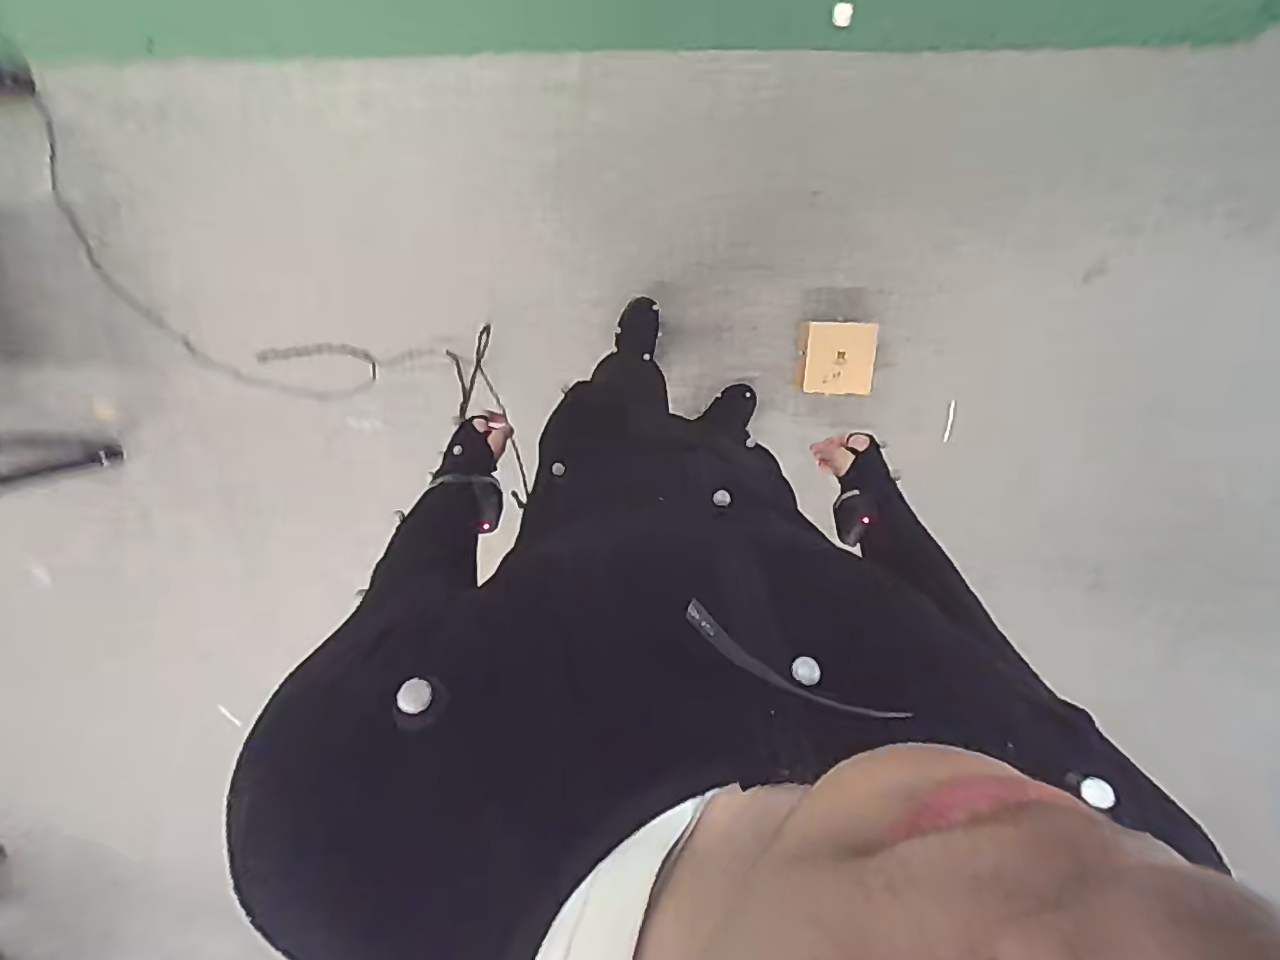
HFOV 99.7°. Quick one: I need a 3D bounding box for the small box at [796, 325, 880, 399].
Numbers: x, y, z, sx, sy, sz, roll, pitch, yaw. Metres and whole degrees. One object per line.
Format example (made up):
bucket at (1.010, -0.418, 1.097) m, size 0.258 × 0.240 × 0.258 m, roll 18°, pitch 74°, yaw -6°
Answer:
small box at (0.510, -0.312, 1.417) m, size 0.168 × 0.176 × 0.179 m, roll 4°, pitch 106°, yaw 7°
